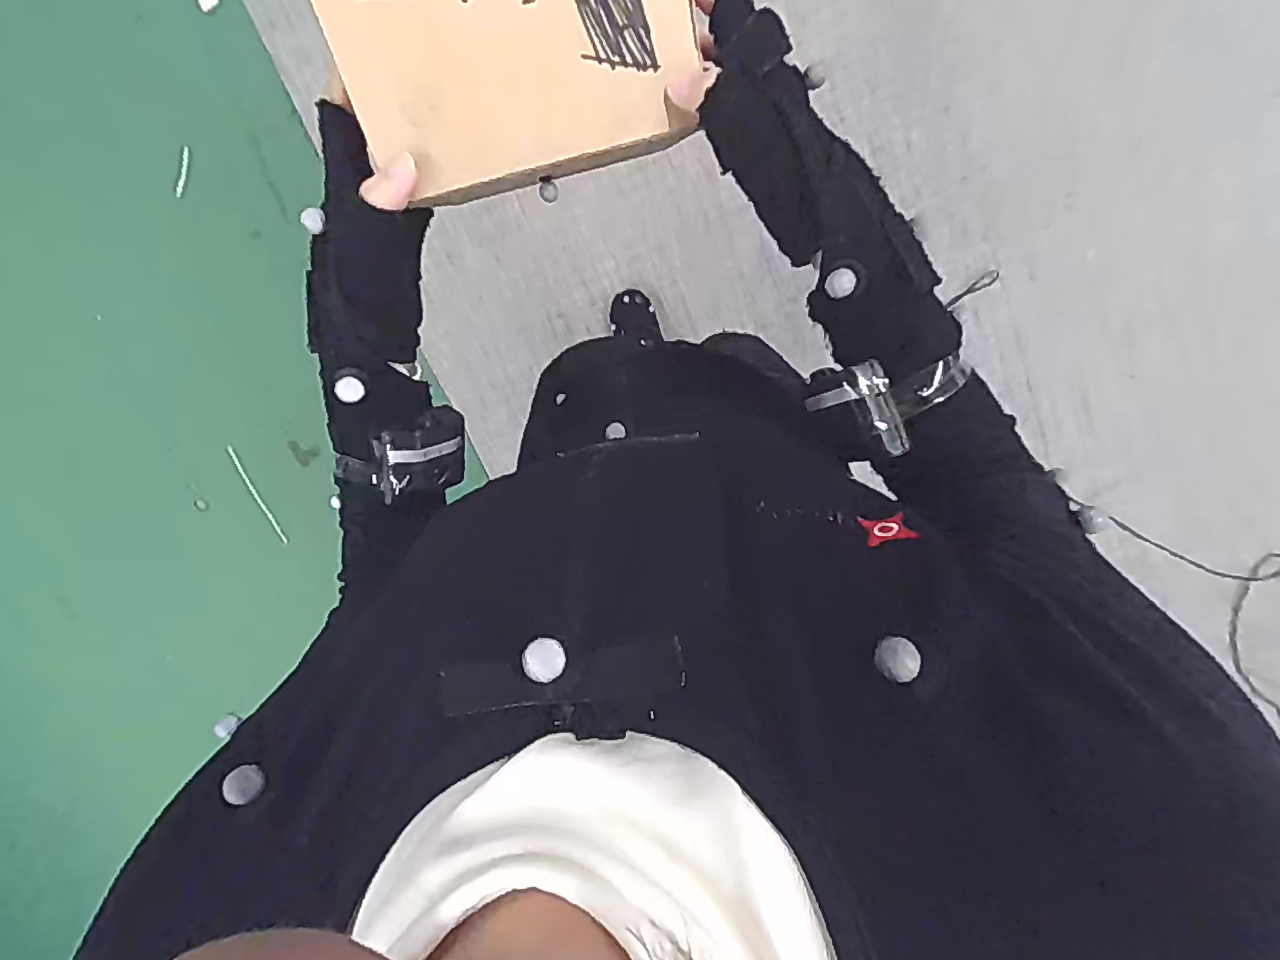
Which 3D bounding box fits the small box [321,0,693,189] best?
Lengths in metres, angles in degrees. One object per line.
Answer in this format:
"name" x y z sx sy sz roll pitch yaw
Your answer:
"small box" -0.079 -0.288 0.331 0.179 0.176 0.168 -13 117 0
